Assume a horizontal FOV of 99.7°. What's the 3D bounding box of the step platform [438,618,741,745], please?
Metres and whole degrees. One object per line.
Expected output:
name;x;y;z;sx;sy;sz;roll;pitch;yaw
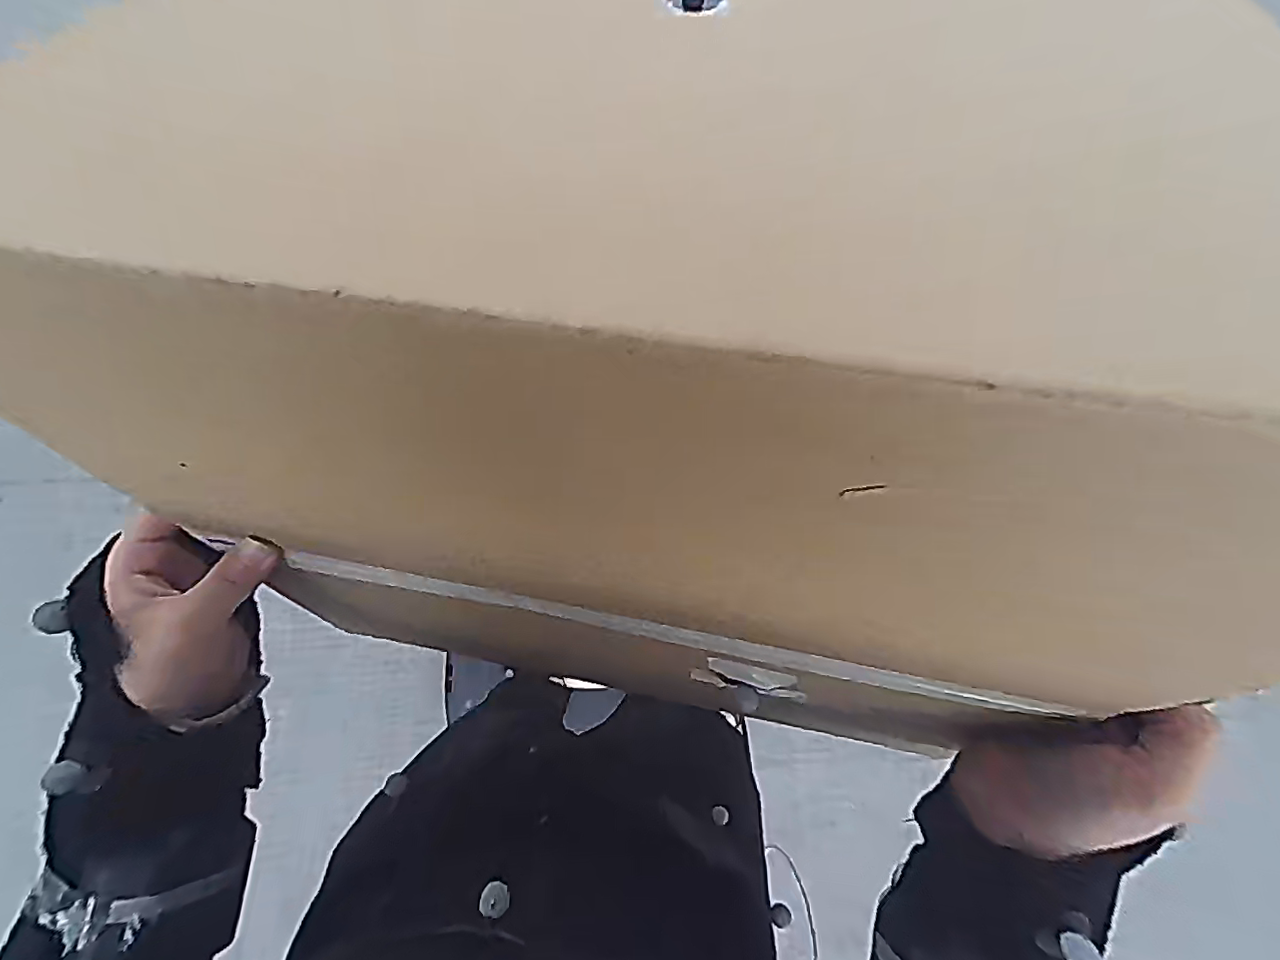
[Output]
step platform;-0.109;0.438;1.269;0.684;0.204;0.286;5;81;-3
